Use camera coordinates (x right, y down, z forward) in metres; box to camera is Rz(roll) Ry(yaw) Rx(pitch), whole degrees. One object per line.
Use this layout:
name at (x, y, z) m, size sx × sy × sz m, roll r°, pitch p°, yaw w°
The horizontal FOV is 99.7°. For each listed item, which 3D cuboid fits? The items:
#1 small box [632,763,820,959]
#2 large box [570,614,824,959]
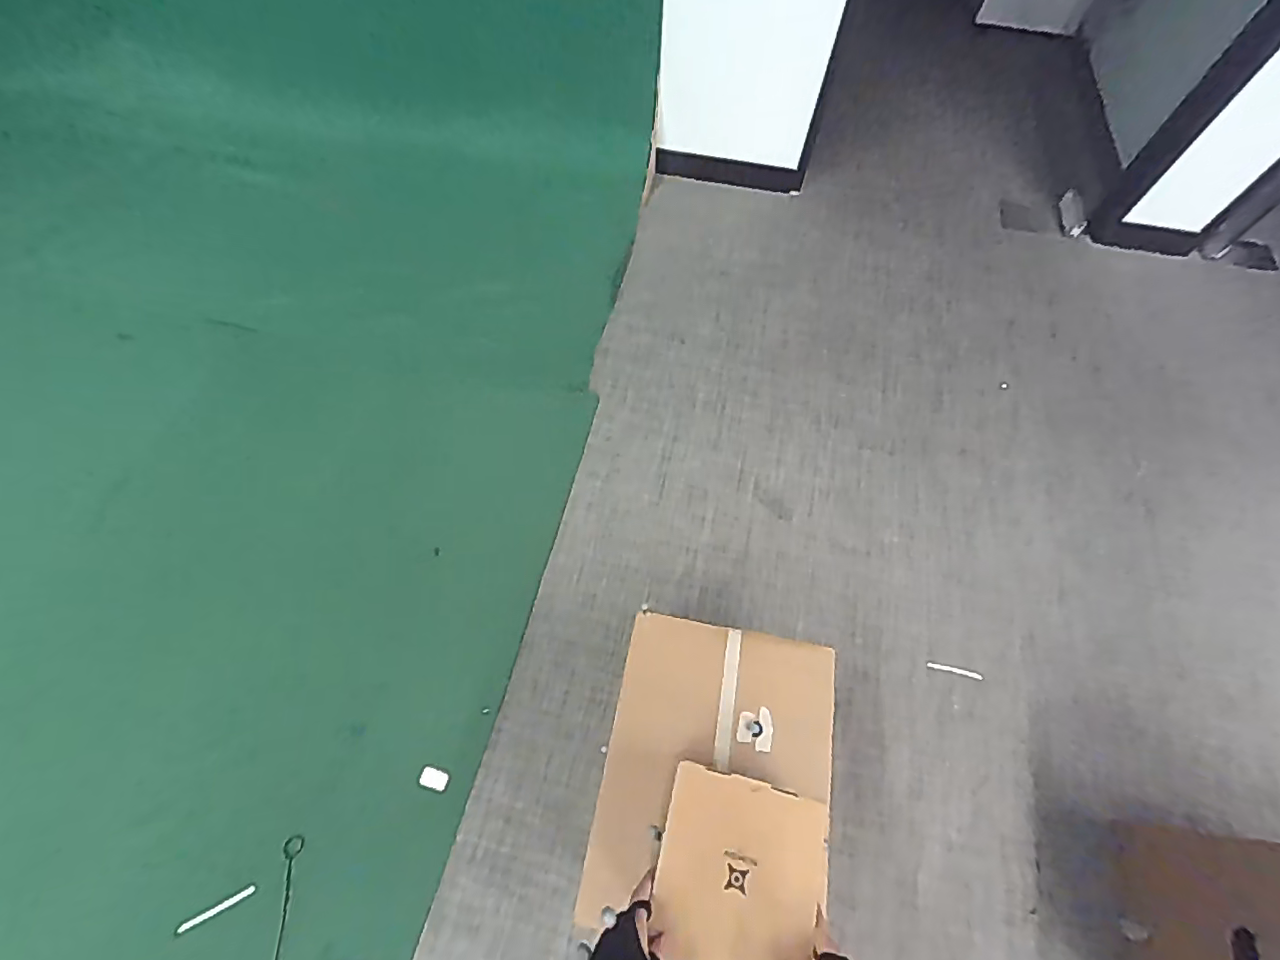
small box at (0.094, 0.445, 0.623) m, size 0.168 × 0.176 × 0.179 m, roll 13°, pitch 62°, yaw 7°
large box at (0.095, 0.481, 0.880) m, size 0.320 × 0.320 × 0.408 m, roll 11°, pitch 62°, yaw 4°
